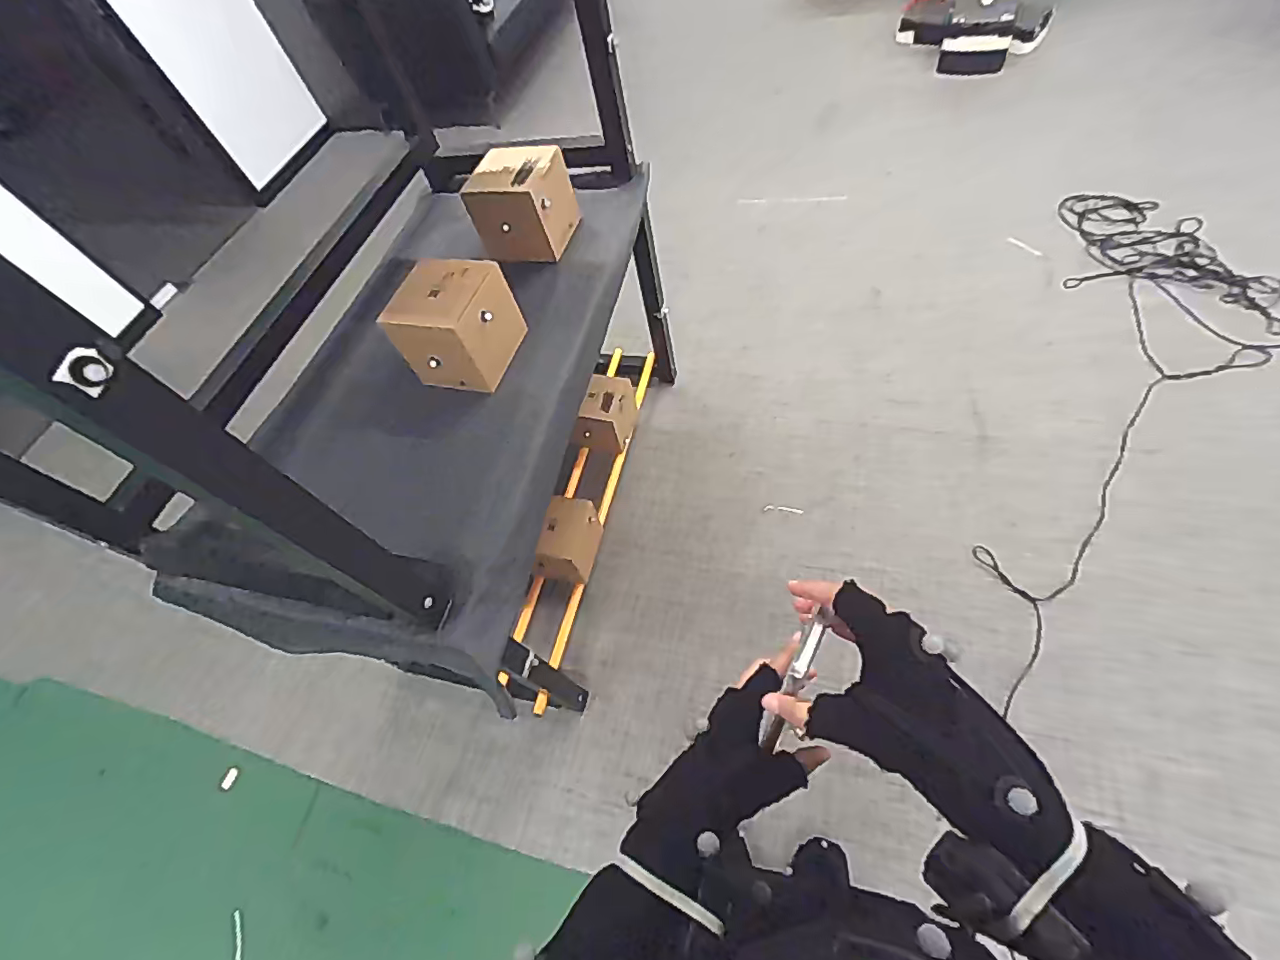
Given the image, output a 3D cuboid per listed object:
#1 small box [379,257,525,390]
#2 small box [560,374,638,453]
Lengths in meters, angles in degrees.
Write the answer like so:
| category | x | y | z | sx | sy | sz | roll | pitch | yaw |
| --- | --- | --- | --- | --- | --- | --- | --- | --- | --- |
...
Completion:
| category | x | y | z | sx | sy | sz | roll | pitch | yaw |
| --- | --- | --- | --- | --- | --- | --- | --- | --- | --- |
| small box | -0.340 | -0.291 | 1.020 | 0.168 | 0.176 | 0.179 | 10 | 61 | 17 |
| small box | -0.116 | -0.202 | 1.663 | 0.179 | 0.176 | 0.168 | 10 | 61 | 17 |
